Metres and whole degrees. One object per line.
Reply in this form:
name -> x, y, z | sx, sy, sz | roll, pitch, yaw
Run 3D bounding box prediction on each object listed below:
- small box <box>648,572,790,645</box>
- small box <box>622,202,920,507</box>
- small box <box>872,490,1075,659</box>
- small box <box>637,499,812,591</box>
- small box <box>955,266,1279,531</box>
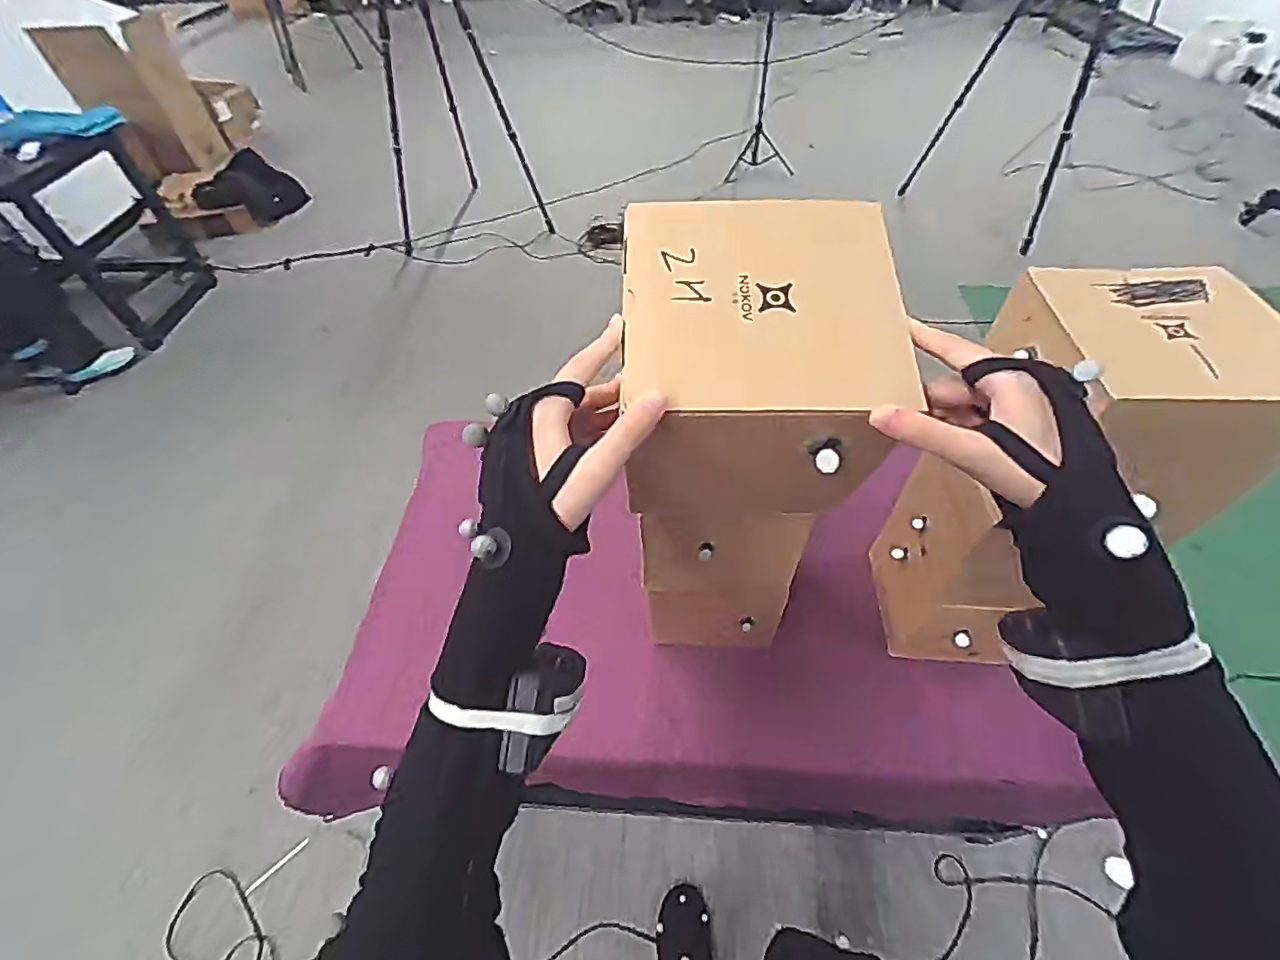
small box -> 0.105, 0.125, 0.774 | 0.179, 0.176, 0.168 | 1, 50, 4
small box -> 0.079, -0.085, 0.419 | 0.179, 0.176, 0.168 | 0, 65, 2
small box -> 0.439, 0.134, 0.749 | 0.168, 0.176, 0.179 | 2, 50, 5
small box -> 0.093, 0.021, 0.647 | 0.179, 0.176, 0.168 | 1, 50, 4
small box -> 0.422, -0.074, 0.495 | 0.168, 0.176, 0.179 | 1, 51, 5
